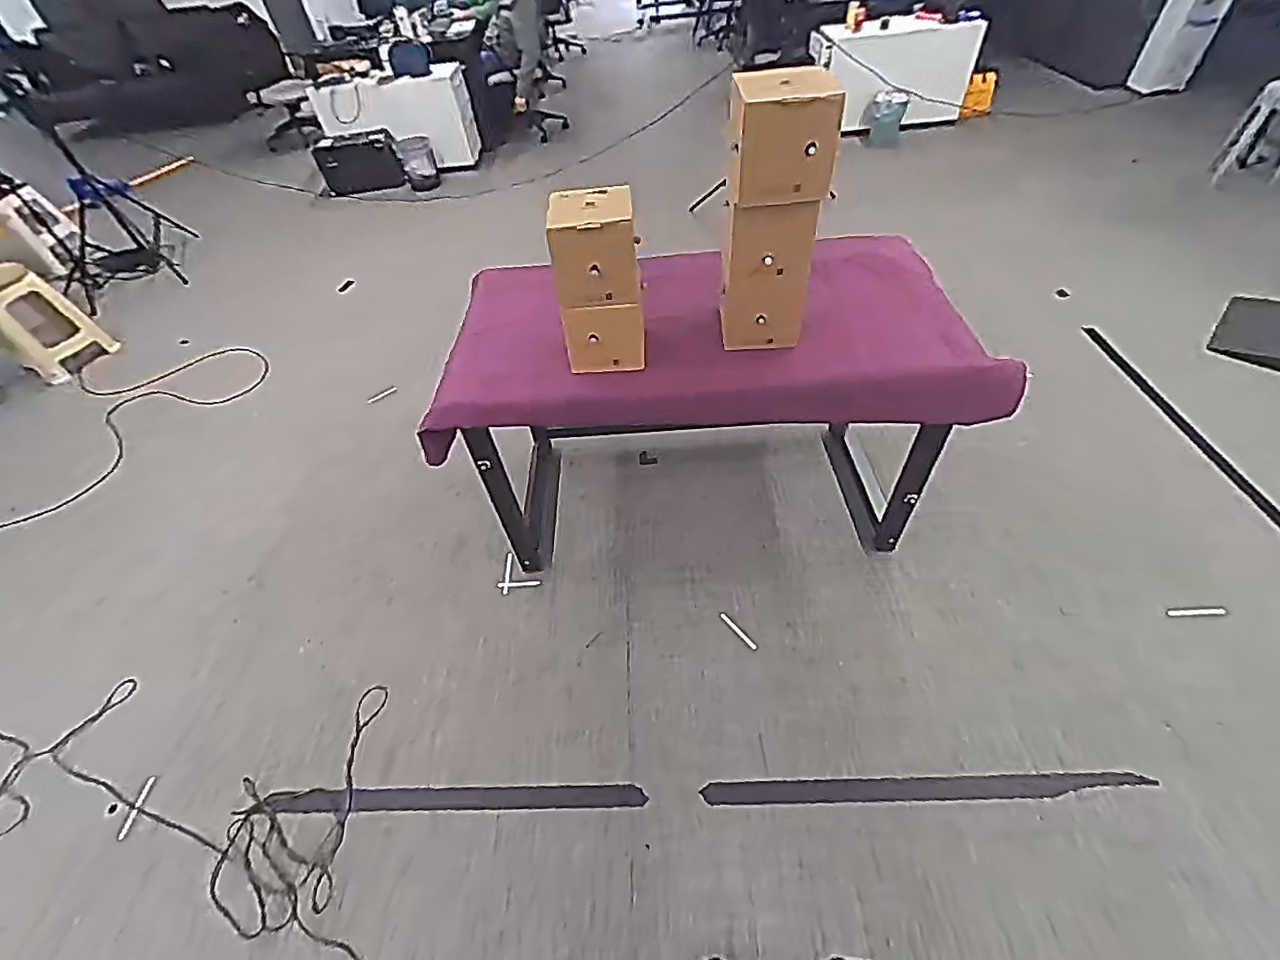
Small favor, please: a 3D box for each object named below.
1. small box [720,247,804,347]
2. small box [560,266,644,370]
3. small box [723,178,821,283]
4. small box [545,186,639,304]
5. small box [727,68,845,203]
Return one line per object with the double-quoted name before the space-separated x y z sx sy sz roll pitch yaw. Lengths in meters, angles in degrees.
"small box" 0.272 -0.419 1.241 0.168 0.176 0.179 -1 49 4
"small box" -0.078 -0.361 1.226 0.168 0.176 0.179 -3 48 3
"small box" 0.263 -0.530 1.120 0.168 0.176 0.179 -2 49 4
"small box" -0.092 -0.475 1.109 0.168 0.176 0.179 -4 48 1
"small box" 0.253 -0.619 0.984 0.168 0.176 0.179 -3 48 2
